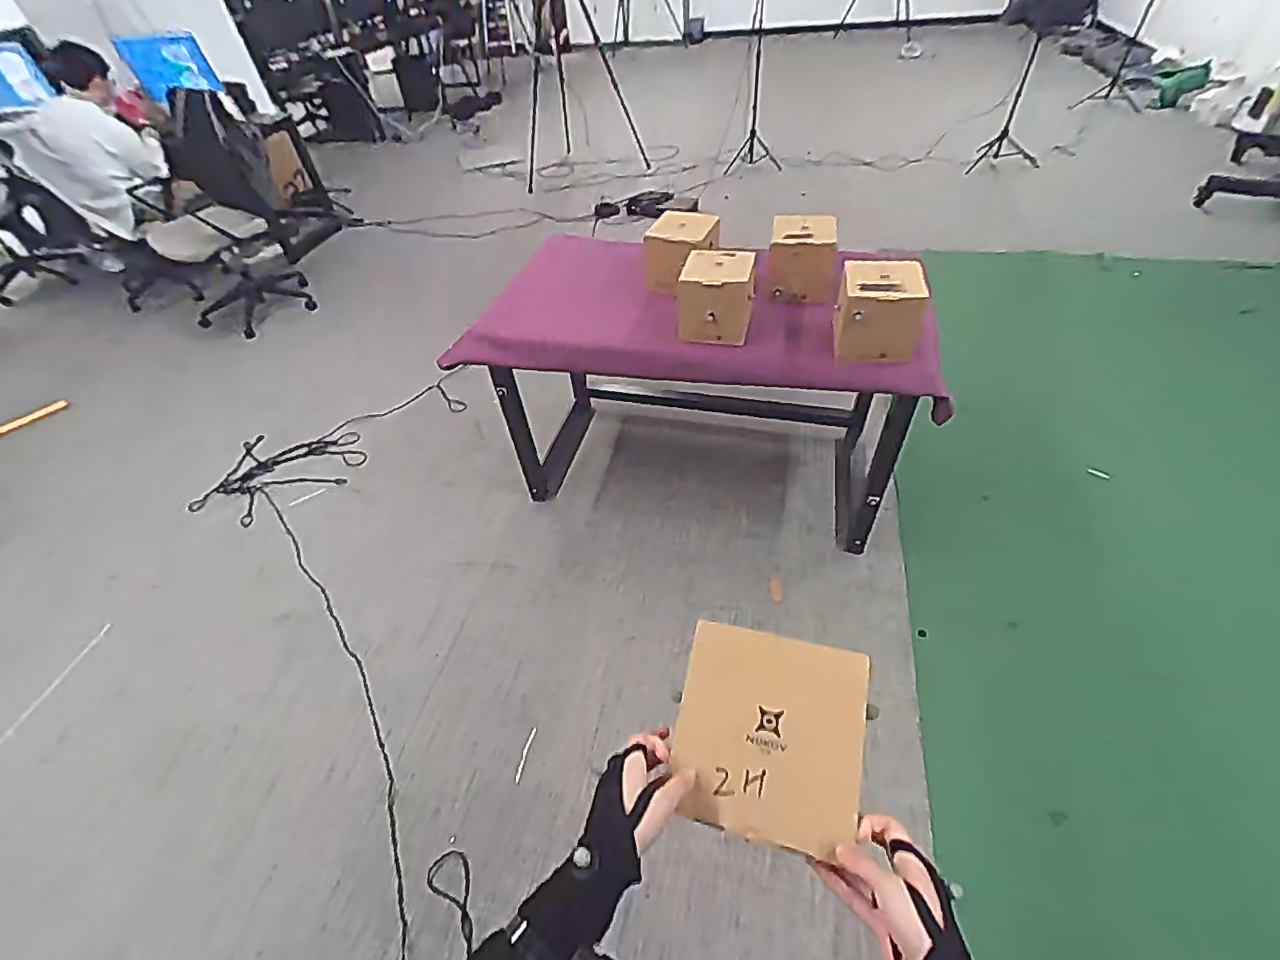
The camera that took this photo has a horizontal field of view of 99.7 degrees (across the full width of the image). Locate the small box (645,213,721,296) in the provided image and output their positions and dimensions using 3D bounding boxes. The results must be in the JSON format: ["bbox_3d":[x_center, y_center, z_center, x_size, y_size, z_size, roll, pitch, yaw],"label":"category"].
[{"bbox_3d":[0.128,-0.644,1.557,0.168,0.176,0.179,16,50,19],"label":"small box"}]

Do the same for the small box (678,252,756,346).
[{"bbox_3d":[0.198,-0.457,1.371,0.168,0.176,0.179,9,47,13],"label":"small box"}]

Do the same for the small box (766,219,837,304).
[{"bbox_3d":[0.441,-0.597,1.481,0.168,0.176,0.179,7,46,11],"label":"small box"}]

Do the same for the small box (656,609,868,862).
[{"bbox_3d":[0.126,0.253,0.559,0.168,0.176,0.179,9,67,16],"label":"small box"}]
